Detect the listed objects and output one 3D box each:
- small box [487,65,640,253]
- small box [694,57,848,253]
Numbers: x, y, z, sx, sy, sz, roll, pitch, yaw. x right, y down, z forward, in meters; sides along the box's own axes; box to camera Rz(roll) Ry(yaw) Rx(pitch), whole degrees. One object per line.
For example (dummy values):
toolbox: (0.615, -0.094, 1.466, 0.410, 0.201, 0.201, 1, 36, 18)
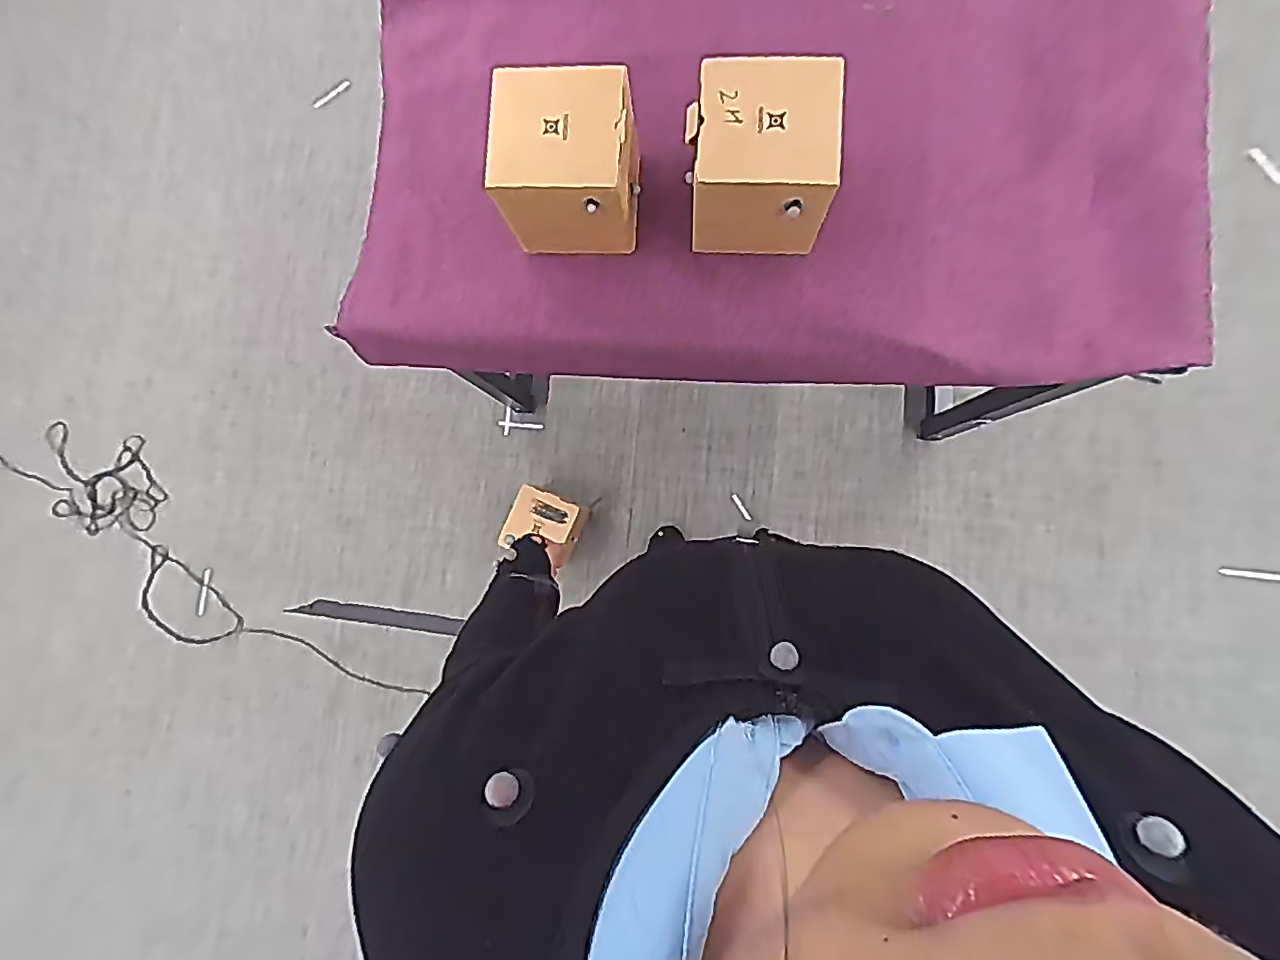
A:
small box: (-0.098, -0.440, 0.764, 0.179, 0.176, 0.168, 2, 85, 5)
small box: (0.168, -0.429, 0.736, 0.179, 0.176, 0.168, 3, 85, 6)
